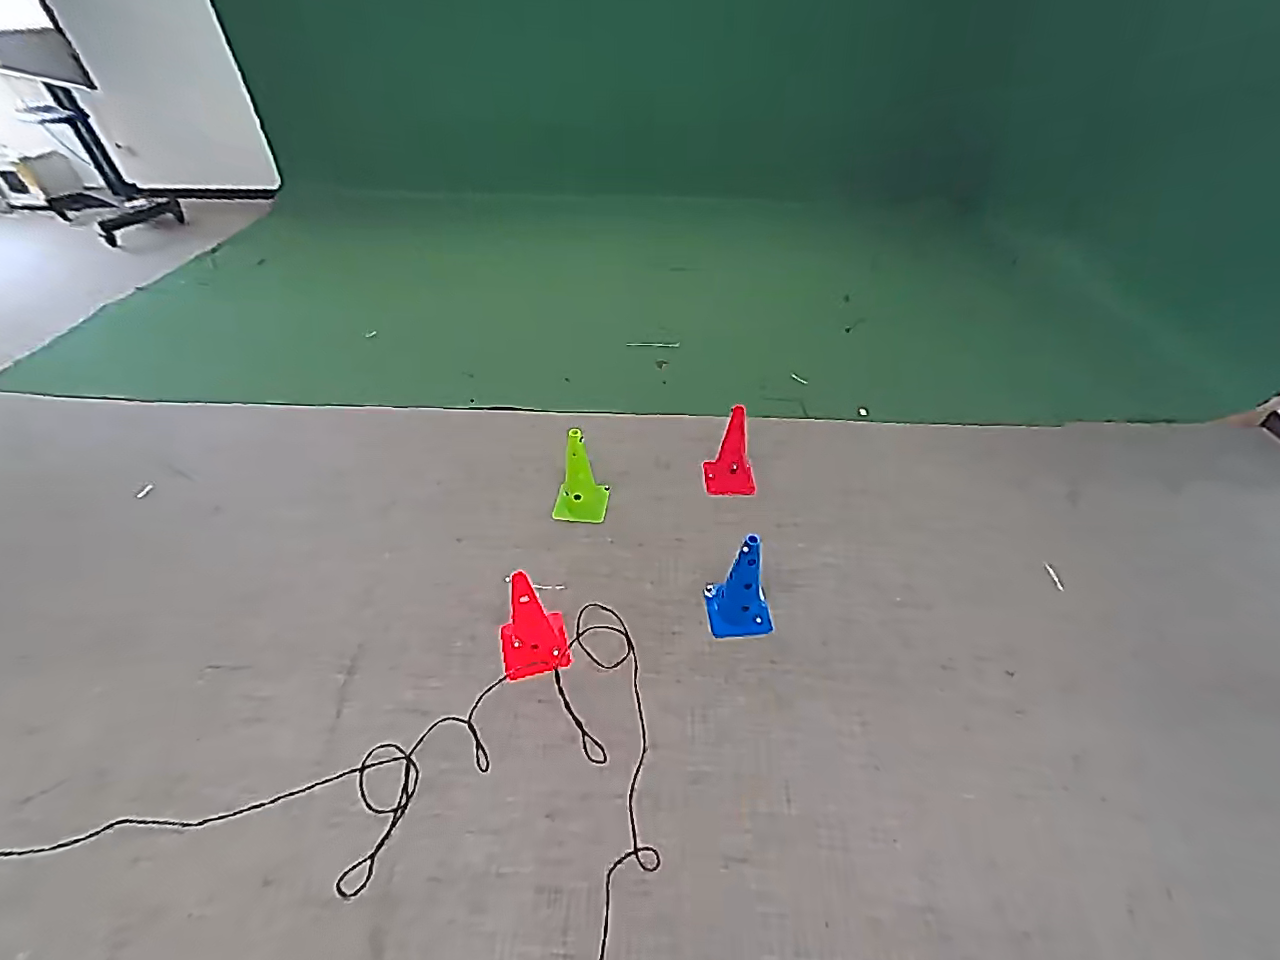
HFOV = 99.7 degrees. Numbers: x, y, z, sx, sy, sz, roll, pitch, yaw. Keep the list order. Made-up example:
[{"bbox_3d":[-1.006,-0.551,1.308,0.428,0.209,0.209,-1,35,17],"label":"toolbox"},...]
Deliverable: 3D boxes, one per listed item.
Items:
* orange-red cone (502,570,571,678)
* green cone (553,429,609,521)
[{"bbox_3d":[-0.320,0.383,1.560,0.198,0.360,0.199,-10,43,-12],"label":"orange-red cone"},{"bbox_3d":[-0.232,-0.041,2.006,0.200,0.368,0.202,3,44,4],"label":"green cone"}]
